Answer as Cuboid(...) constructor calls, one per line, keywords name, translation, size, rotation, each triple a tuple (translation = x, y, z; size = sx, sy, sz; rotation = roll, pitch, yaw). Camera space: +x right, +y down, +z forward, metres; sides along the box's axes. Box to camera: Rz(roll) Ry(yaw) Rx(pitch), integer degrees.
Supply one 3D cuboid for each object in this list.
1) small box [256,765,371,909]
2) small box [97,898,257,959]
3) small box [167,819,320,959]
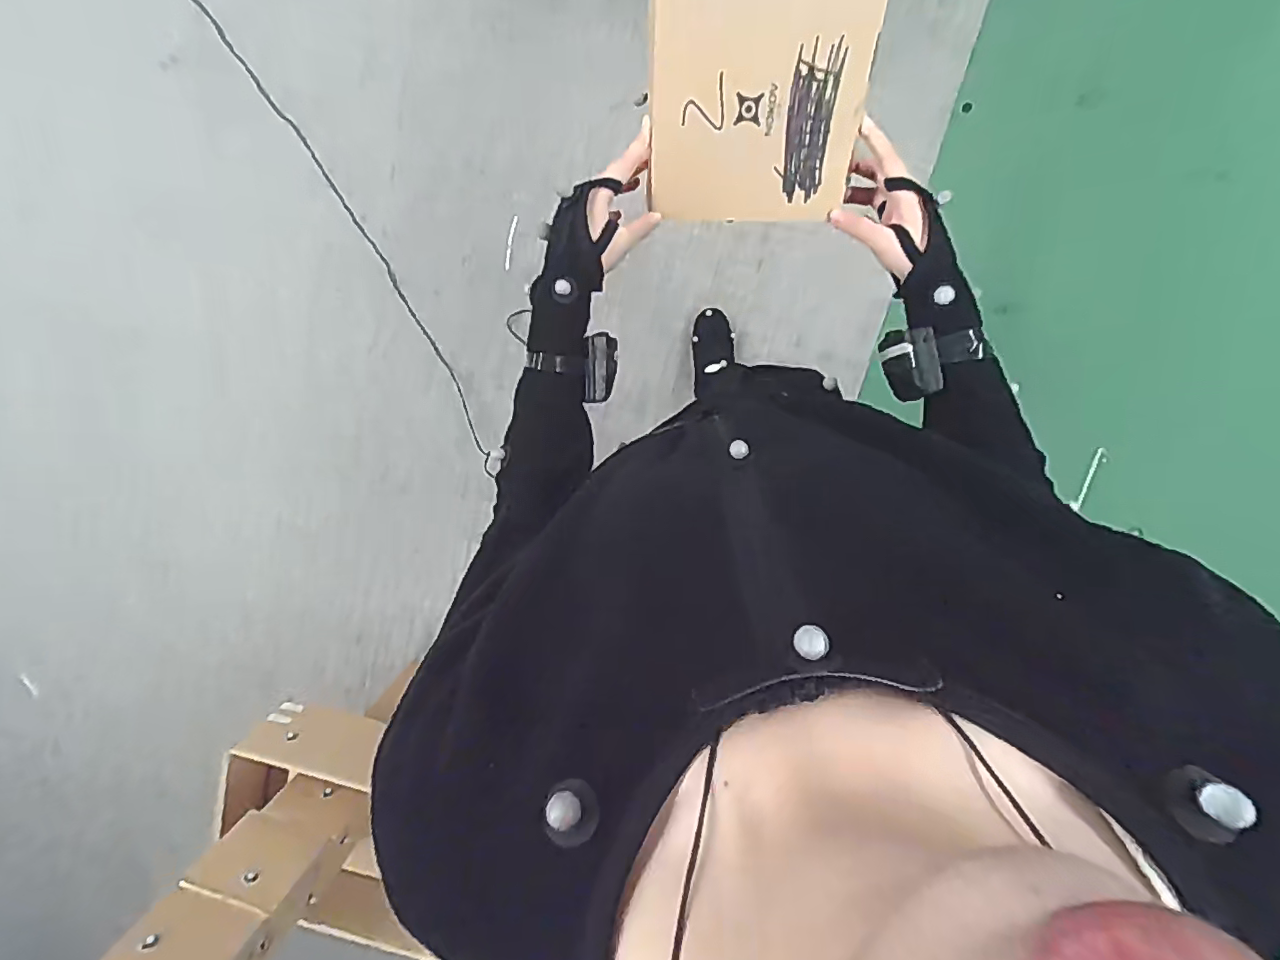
Cuboid(name="small box", translation=(-0.721, 0.767, 1.182), size=(0.168, 0.176, 0.179), rotation=(21, 100, 1))
Cuboid(name="small box", translation=(-0.766, 0.820, 0.862), size=(0.179, 0.176, 0.168), rotation=(19, 101, 1))
Cuboid(name="small box", translation=(-0.746, 0.787, 1.020), size=(0.179, 0.176, 0.168), rotation=(19, 100, 2))
